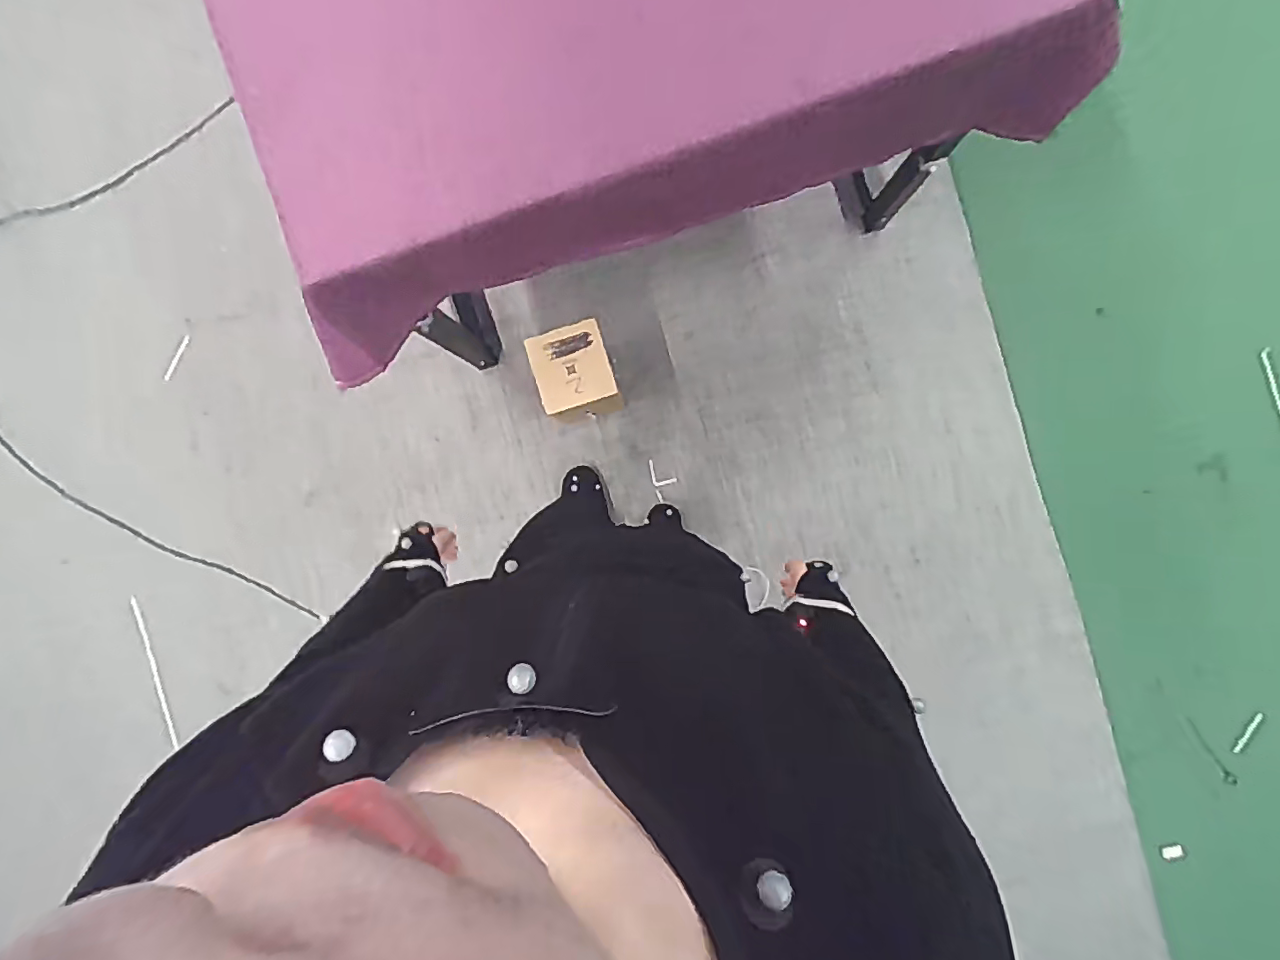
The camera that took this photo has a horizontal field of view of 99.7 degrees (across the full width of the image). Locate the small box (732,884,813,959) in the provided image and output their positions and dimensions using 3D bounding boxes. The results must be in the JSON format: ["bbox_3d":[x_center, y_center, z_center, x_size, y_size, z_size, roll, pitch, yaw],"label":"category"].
[{"bbox_3d":[0.349,1.201,1.411,0.168,0.176,0.179,-16,90,3],"label":"small box"}]
